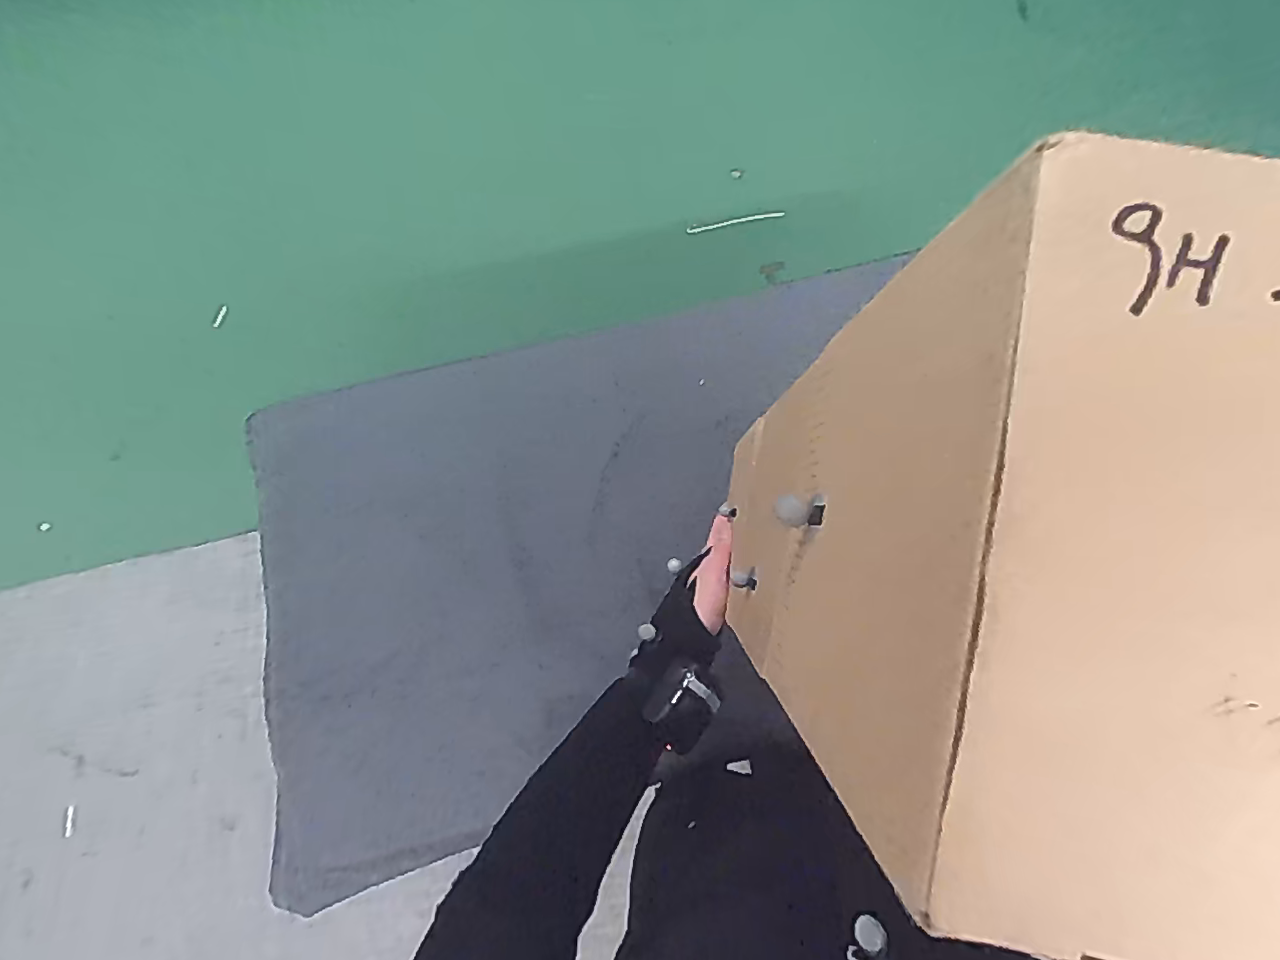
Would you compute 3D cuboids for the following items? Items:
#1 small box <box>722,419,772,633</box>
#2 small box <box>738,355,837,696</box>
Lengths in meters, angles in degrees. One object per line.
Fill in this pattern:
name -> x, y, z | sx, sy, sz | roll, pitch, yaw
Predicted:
small box -> 0.174, 0.054, 0.509 | 0.168, 0.176, 0.179 | 10, 86, 4
small box -> 0.164, 0.040, 0.348 | 0.168, 0.176, 0.179 | 10, 86, 3
